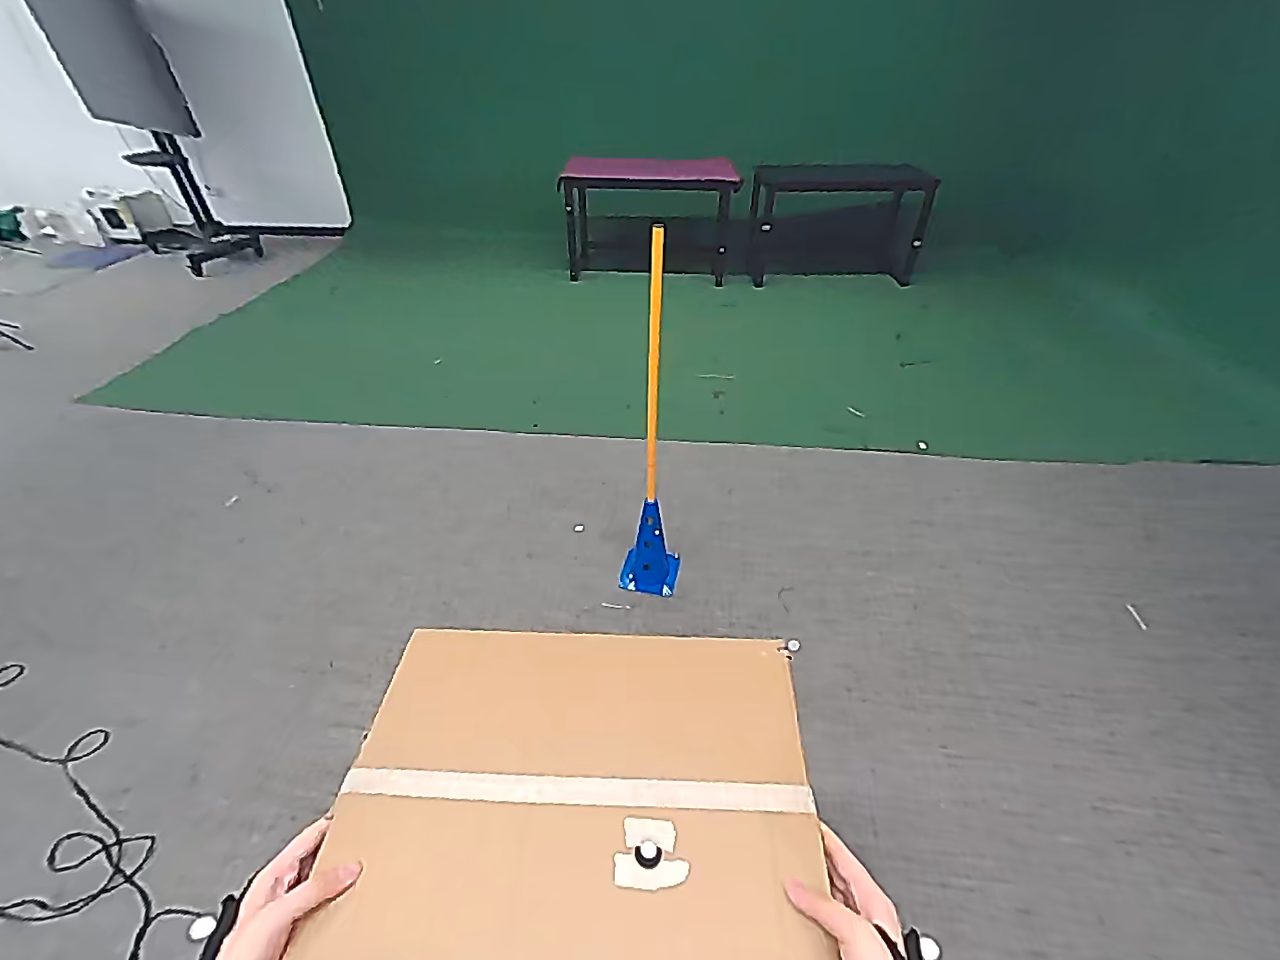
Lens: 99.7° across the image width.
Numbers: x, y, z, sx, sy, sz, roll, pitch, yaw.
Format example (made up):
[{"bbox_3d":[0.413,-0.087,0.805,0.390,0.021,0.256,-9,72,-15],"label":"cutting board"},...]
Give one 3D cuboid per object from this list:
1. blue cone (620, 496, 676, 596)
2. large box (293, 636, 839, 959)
[{"bbox_3d":[0.031,0.217,1.890,0.193,0.380,0.192,10,39,11],"label":"blue cone"},{"bbox_3d":[-0.050,0.388,0.573,0.408,0.320,0.320,1,41,3],"label":"large box"}]
